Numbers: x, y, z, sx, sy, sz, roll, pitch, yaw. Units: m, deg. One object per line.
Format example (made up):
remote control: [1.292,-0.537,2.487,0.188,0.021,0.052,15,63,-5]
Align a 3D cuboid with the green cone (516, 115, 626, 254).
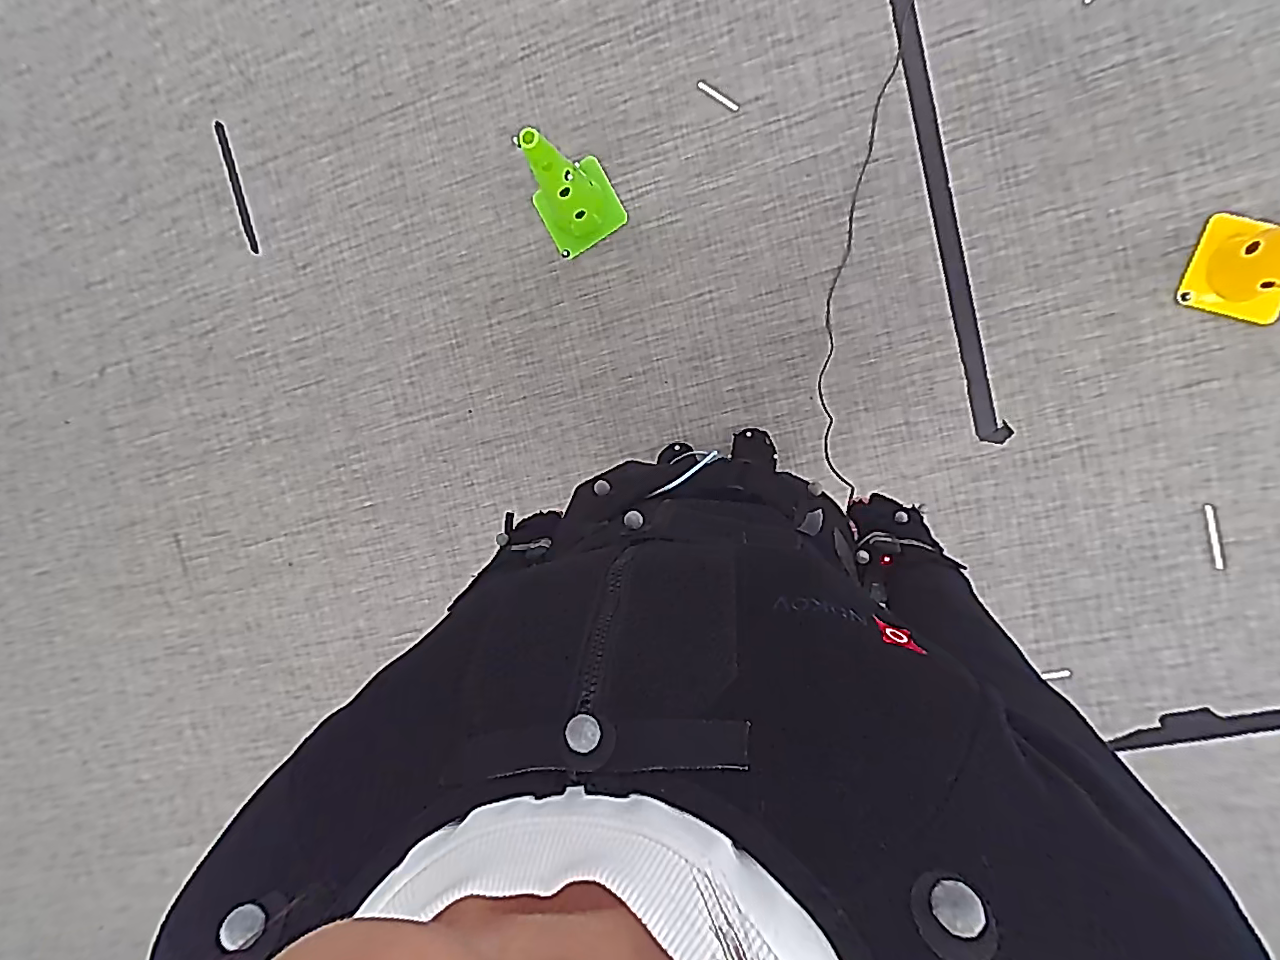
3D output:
green cone: [-0.188,-0.706,1.237,0.200,0.368,0.202,-29,88,11]
